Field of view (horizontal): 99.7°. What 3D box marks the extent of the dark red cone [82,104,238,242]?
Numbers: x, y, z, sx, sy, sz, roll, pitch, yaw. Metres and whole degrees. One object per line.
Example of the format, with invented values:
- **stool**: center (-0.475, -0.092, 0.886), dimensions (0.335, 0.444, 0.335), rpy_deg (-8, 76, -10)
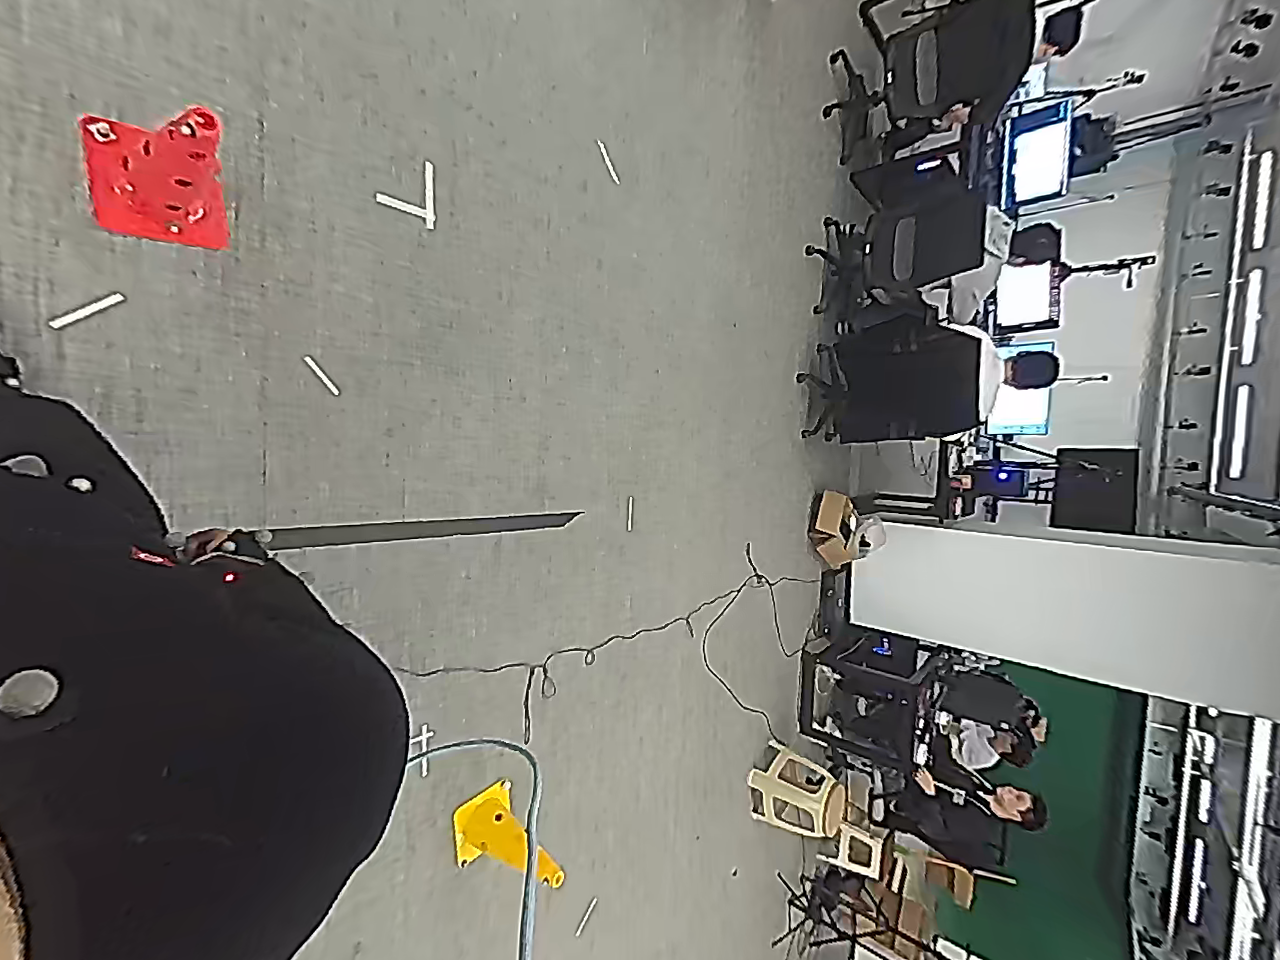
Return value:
- **dark red cone**: center (-0.762, -0.545, 0.904), dimensions (0.202, 0.394, 0.201), rpy_deg (-12, 104, -50)
